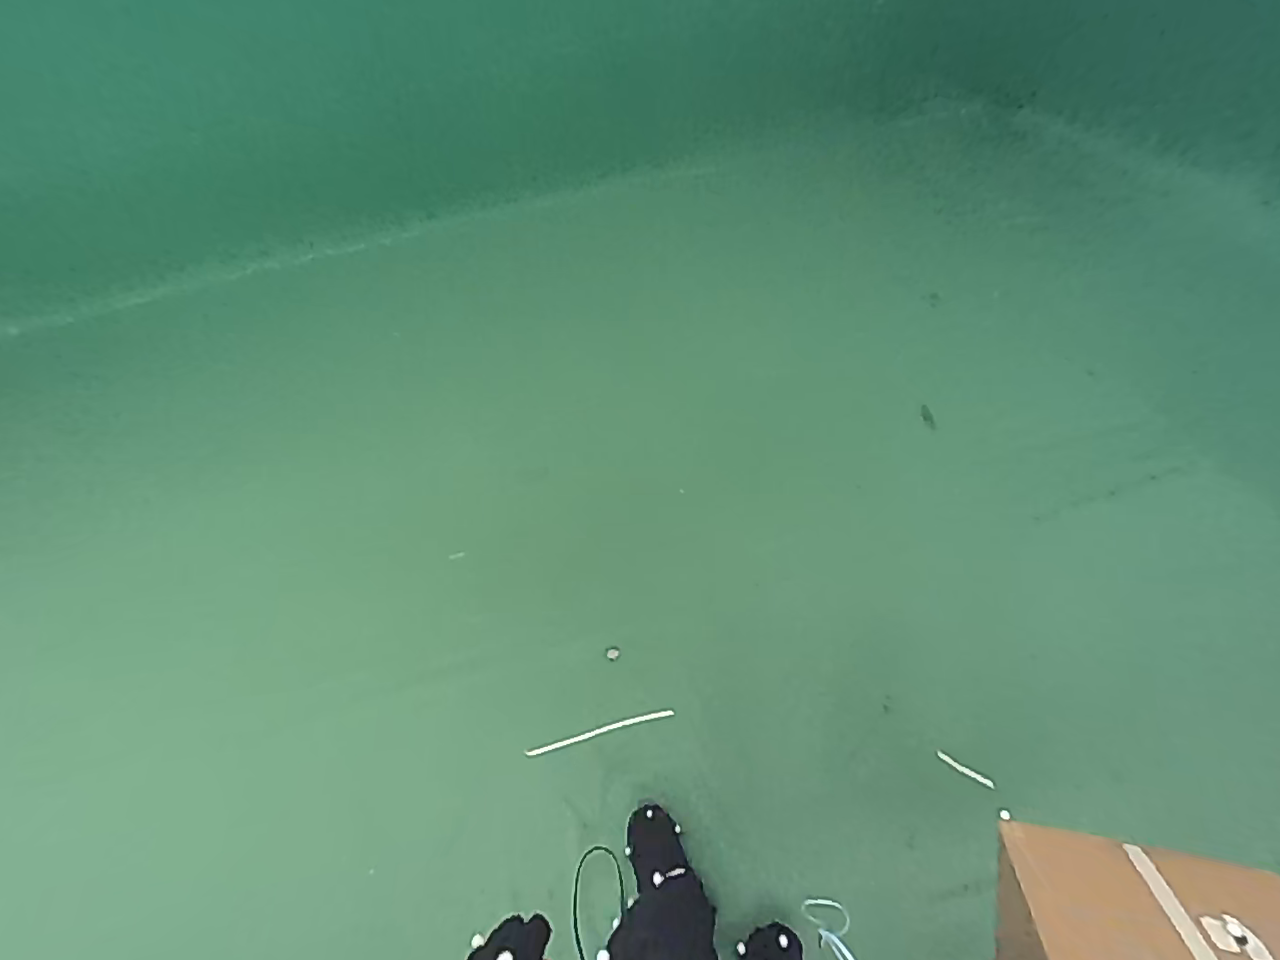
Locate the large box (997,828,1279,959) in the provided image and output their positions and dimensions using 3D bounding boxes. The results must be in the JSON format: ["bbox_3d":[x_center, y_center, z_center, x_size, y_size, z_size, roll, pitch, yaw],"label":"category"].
[{"bbox_3d":[0.616,0.684,0.582,0.320,0.408,0.320,0,95,20],"label":"large box"}]
